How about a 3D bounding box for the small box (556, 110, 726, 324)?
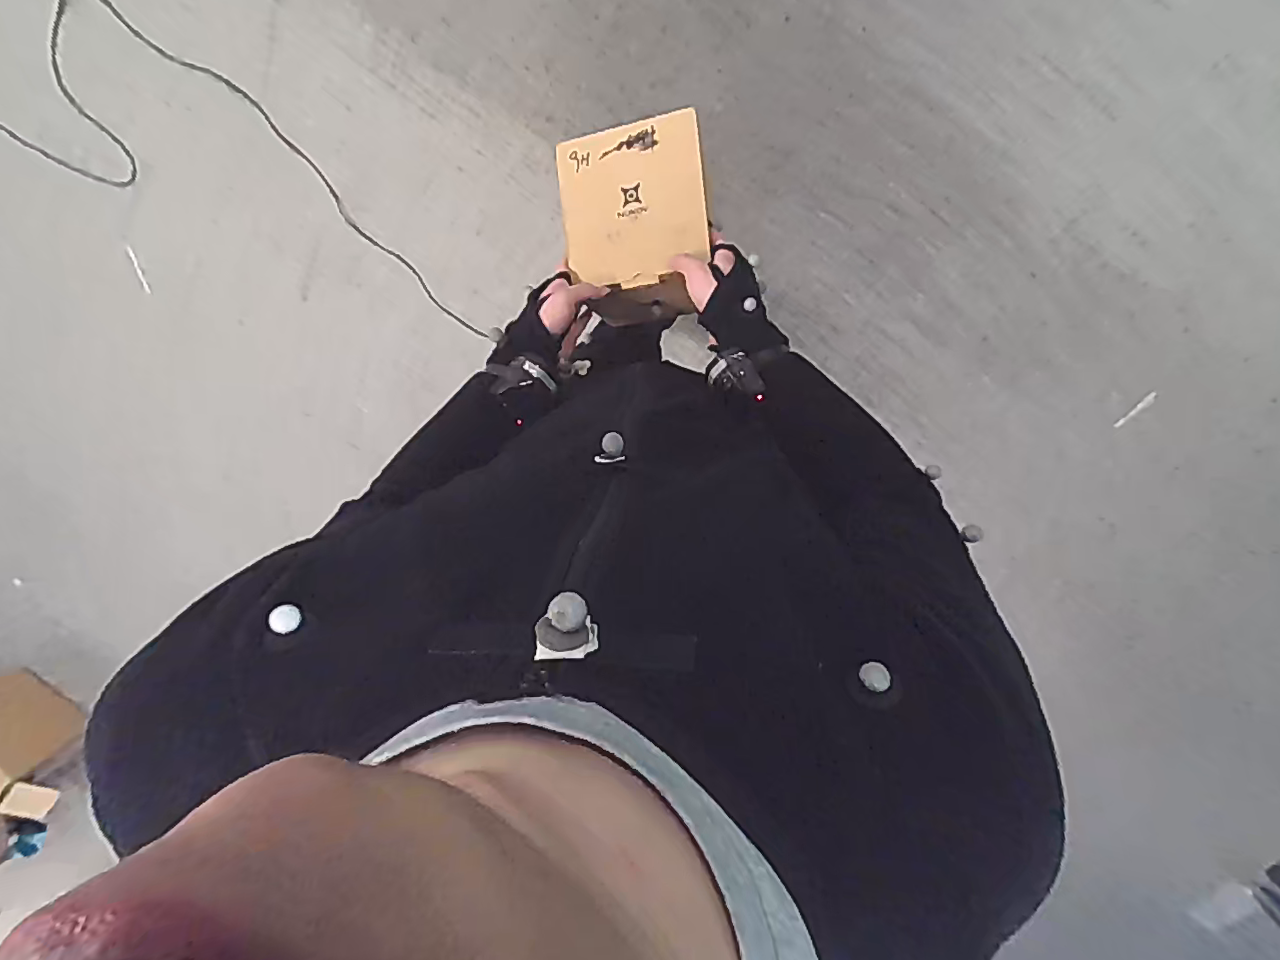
[{"bbox_3d":[0.012,-0.301,0.667,0.168,0.176,0.179,-6,91,14],"label":"small box"}]
